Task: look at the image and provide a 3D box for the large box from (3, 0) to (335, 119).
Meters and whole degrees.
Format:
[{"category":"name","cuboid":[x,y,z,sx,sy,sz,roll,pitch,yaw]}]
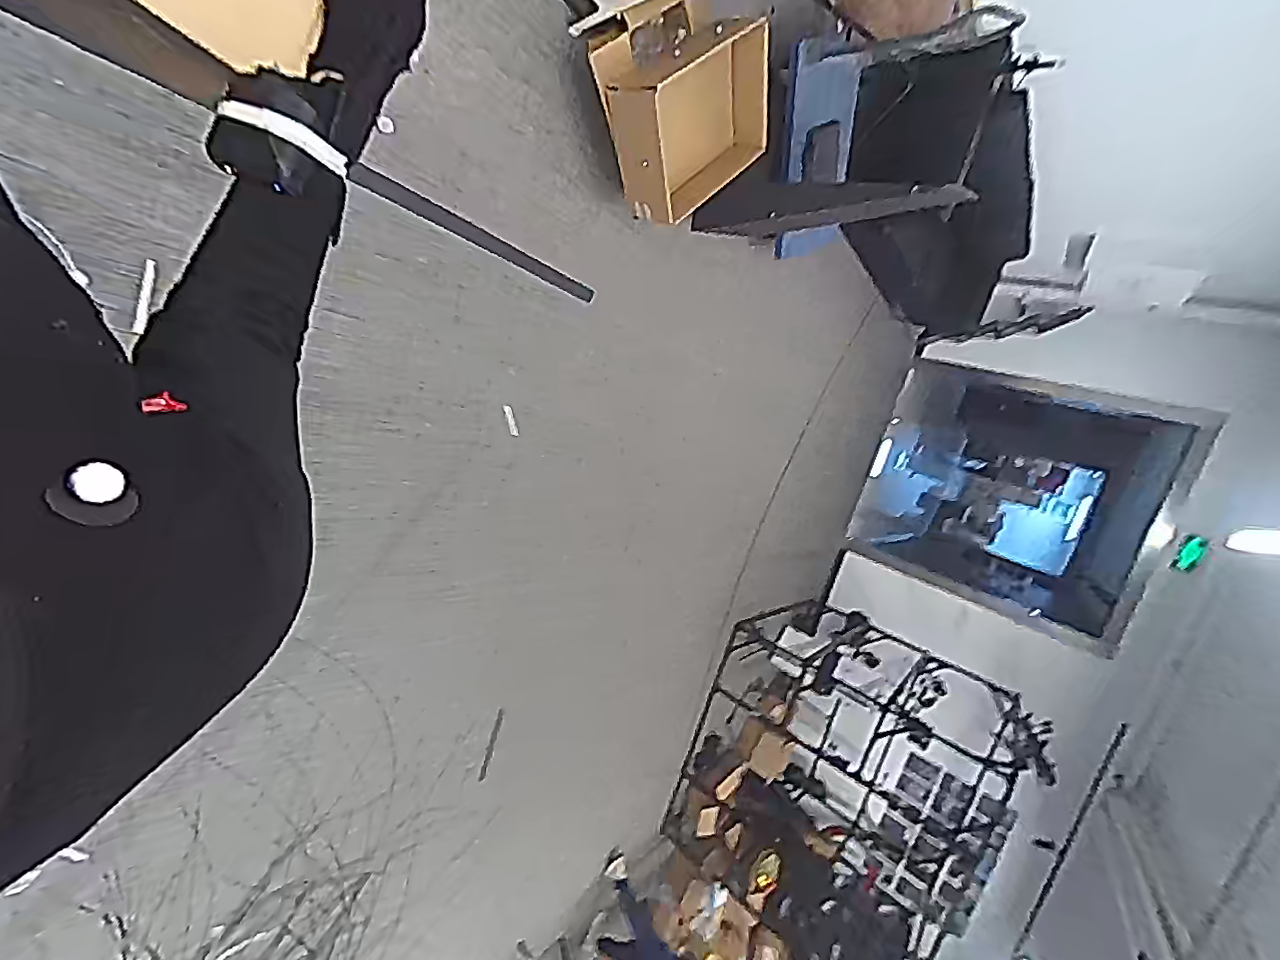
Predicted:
[{"category":"large box","cuboid":[-0.413,-0.498,0.306,0.408,0.320,0.320,19,100,-58]}]
